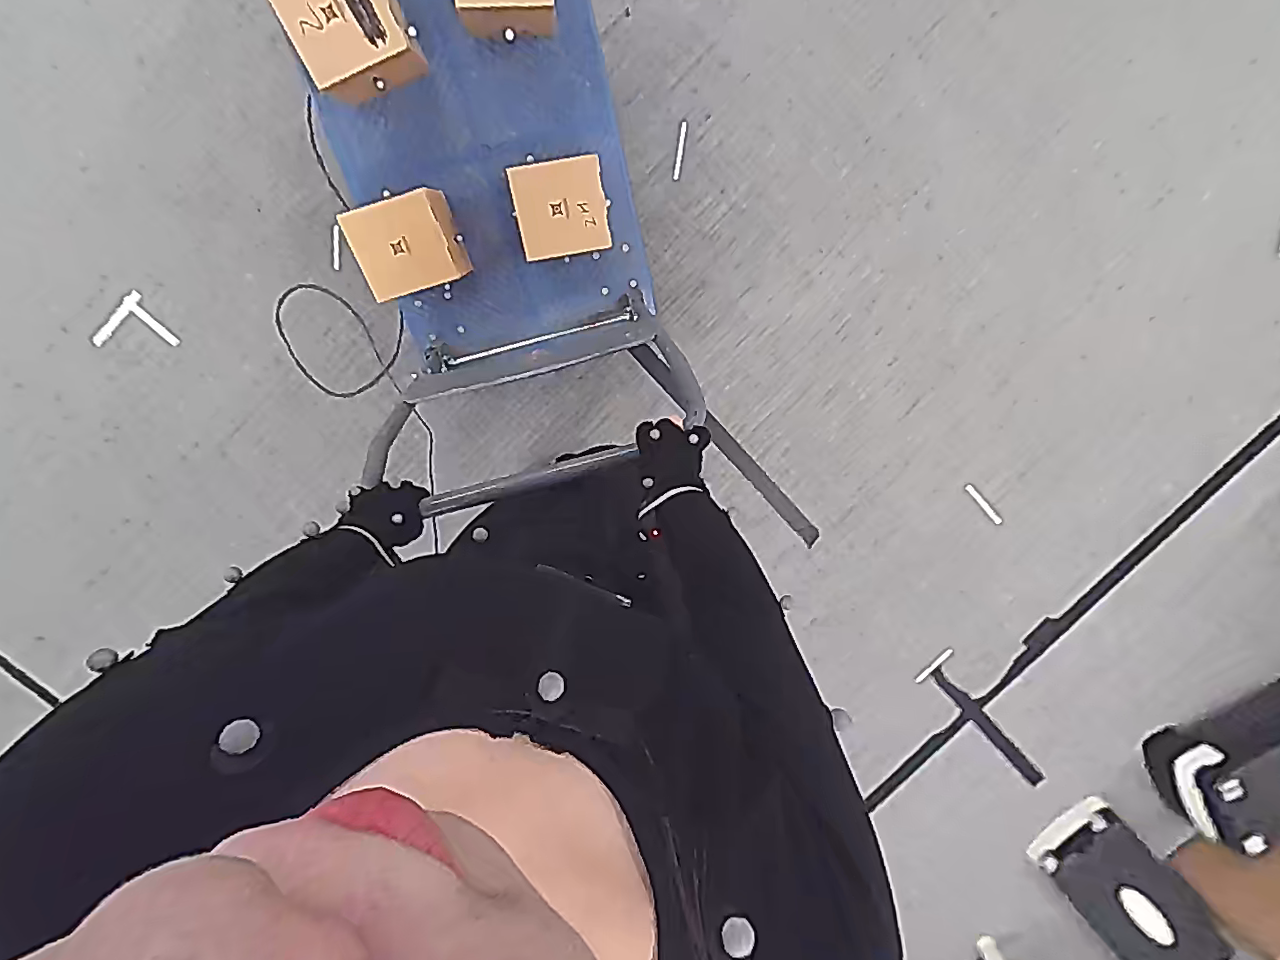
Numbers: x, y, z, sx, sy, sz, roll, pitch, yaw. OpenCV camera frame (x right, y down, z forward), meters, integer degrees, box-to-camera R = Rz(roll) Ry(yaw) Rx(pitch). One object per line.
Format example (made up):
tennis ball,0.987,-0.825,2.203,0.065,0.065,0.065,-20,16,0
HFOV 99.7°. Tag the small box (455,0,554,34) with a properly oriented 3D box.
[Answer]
small box,-0.239,-0.901,0.929,0.168,0.176,0.179,-6,117,-5

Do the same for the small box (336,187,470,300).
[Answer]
small box,-0.469,-0.479,1.102,0.179,0.176,0.168,-18,117,0

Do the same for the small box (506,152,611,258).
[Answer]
small box,-0.161,-0.556,1.106,0.179,0.176,0.168,-11,117,-2
